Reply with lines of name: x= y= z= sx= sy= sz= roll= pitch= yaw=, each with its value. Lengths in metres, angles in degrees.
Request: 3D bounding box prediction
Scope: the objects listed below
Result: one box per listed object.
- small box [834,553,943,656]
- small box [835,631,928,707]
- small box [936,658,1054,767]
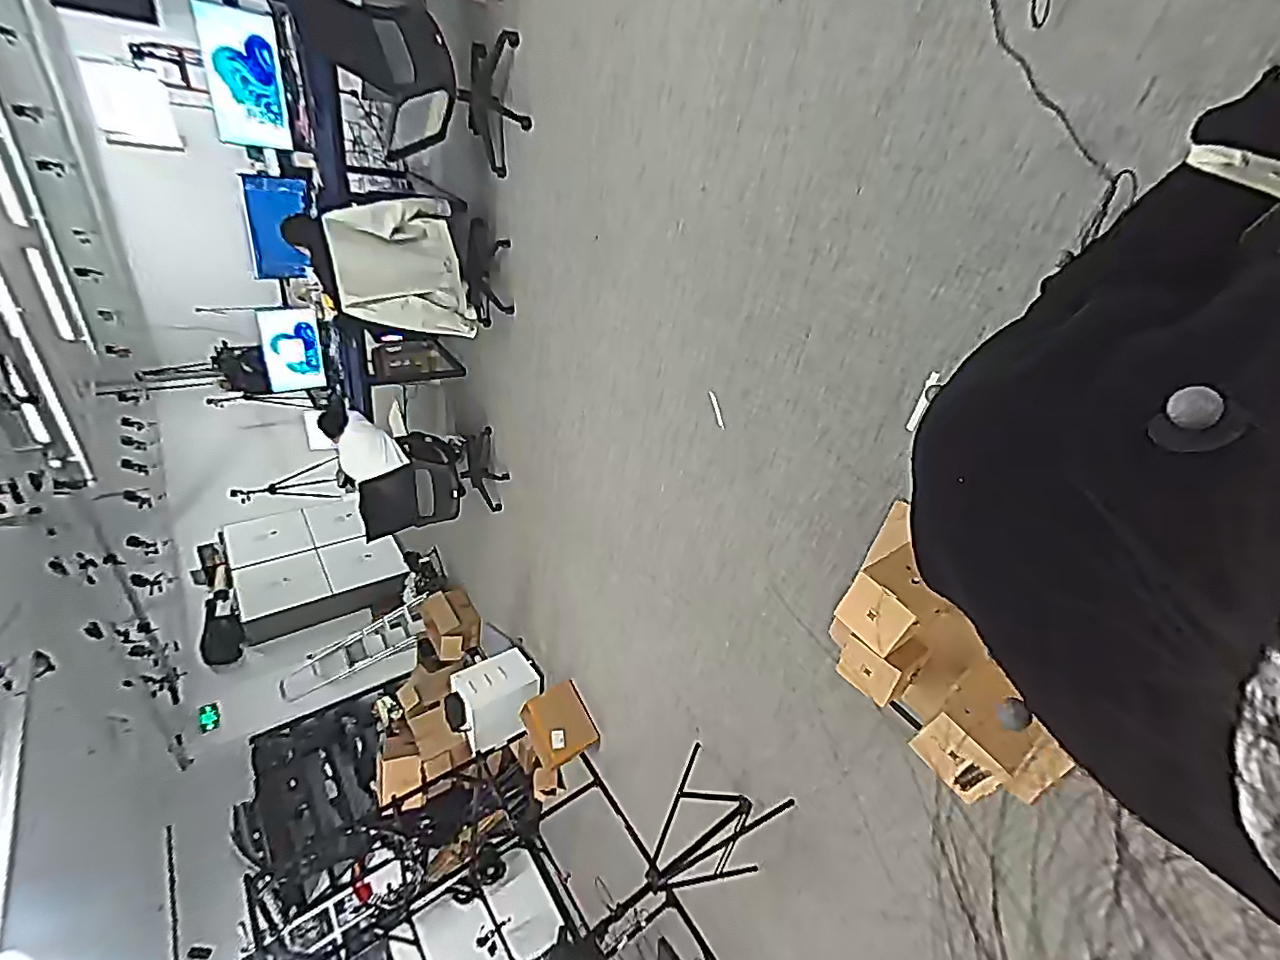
small box: x=0.657 y=0.324 z=1.426 sx=0.168 sy=0.176 sz=0.179 roll=45 pitch=134 yaw=35
small box: x=0.747 y=0.555 z=1.675 sx=0.179 sy=0.176 sz=0.168 roll=38 pitch=132 yaw=41
small box: x=0.940 y=0.609 z=1.431 sx=0.179 sy=0.176 sz=0.168 roll=48 pitch=136 yaw=30
